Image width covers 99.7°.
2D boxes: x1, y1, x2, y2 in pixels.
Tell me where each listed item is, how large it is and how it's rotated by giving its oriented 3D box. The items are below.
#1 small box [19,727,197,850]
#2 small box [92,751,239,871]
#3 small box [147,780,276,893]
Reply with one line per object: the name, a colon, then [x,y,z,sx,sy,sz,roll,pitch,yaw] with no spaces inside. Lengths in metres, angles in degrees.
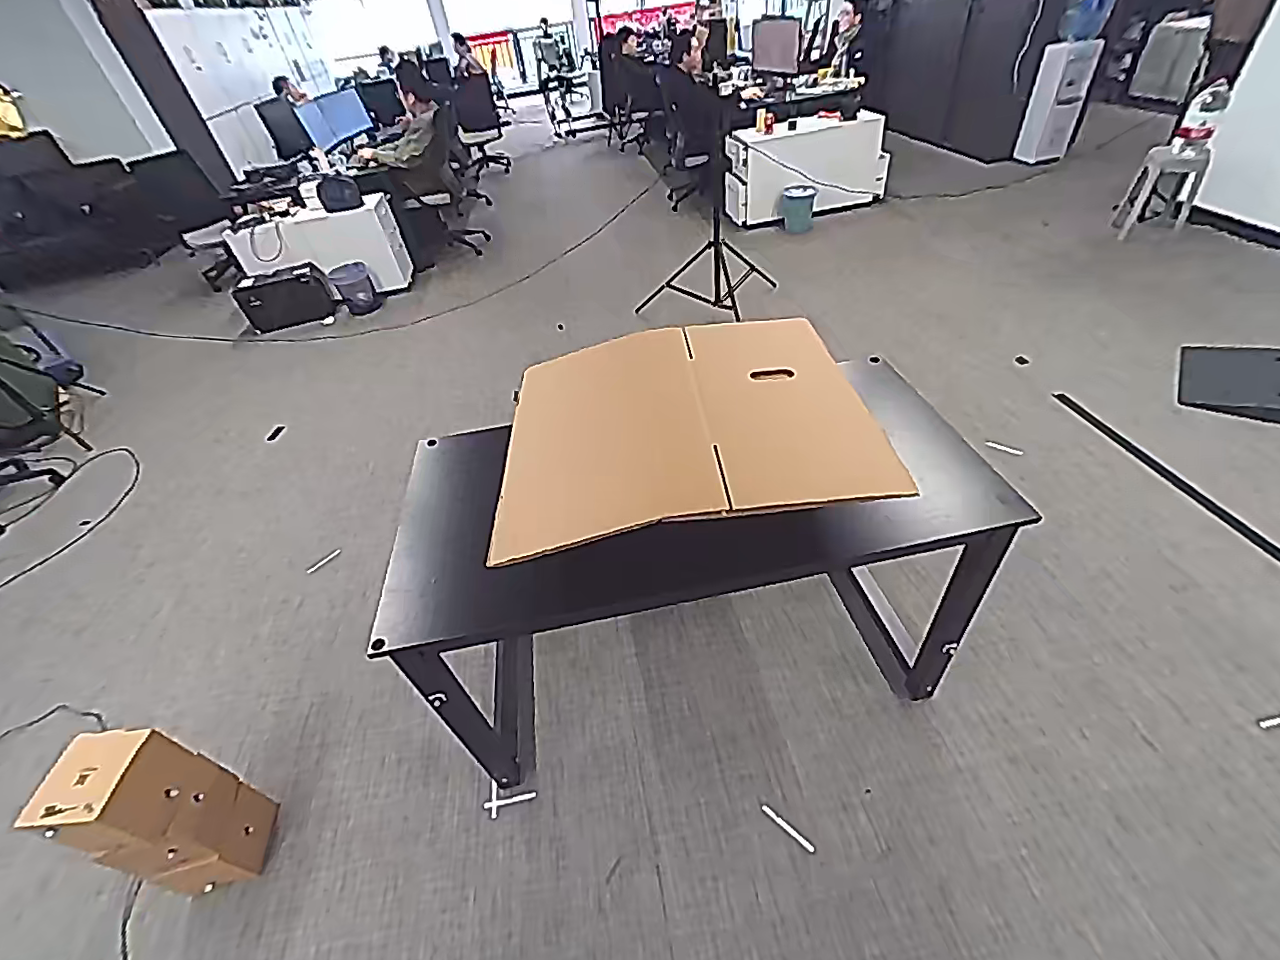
small box: [-1.086,0.644,1.130,0.168,0.176,0.179,-6,41,3]
small box: [-1.069,0.765,1.240,0.168,0.176,0.179,-15,41,-8]
small box: [-1.048,0.887,1.345,0.168,0.176,0.179,-14,43,-5]
